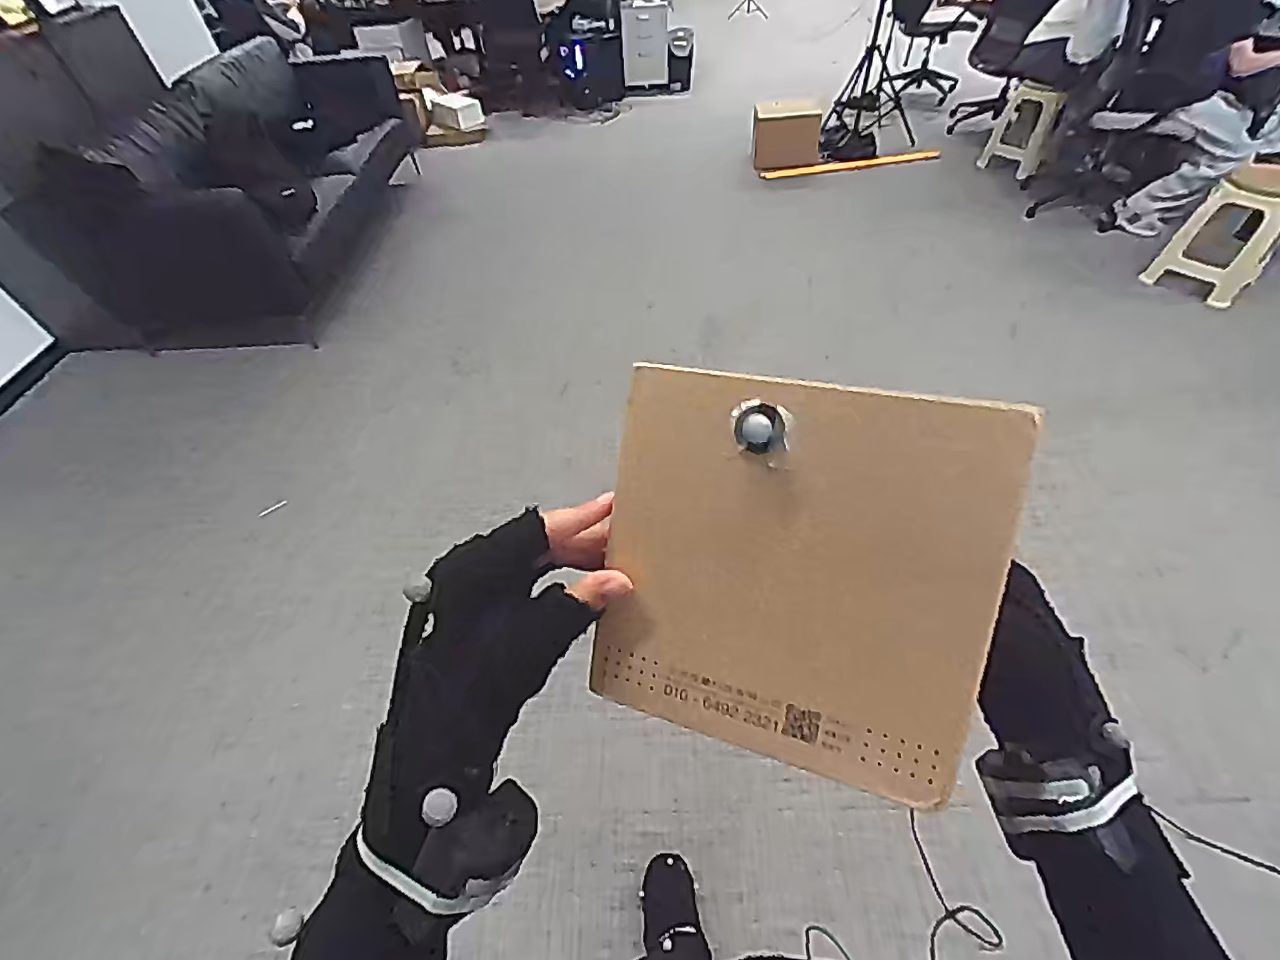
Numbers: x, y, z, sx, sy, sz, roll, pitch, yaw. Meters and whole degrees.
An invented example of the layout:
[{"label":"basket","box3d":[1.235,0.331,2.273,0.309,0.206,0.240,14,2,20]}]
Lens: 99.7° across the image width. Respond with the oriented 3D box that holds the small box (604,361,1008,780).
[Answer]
[{"label":"small box","box3d":[0.090,0.033,0.324,0.168,0.176,0.179,10,7,22]}]
